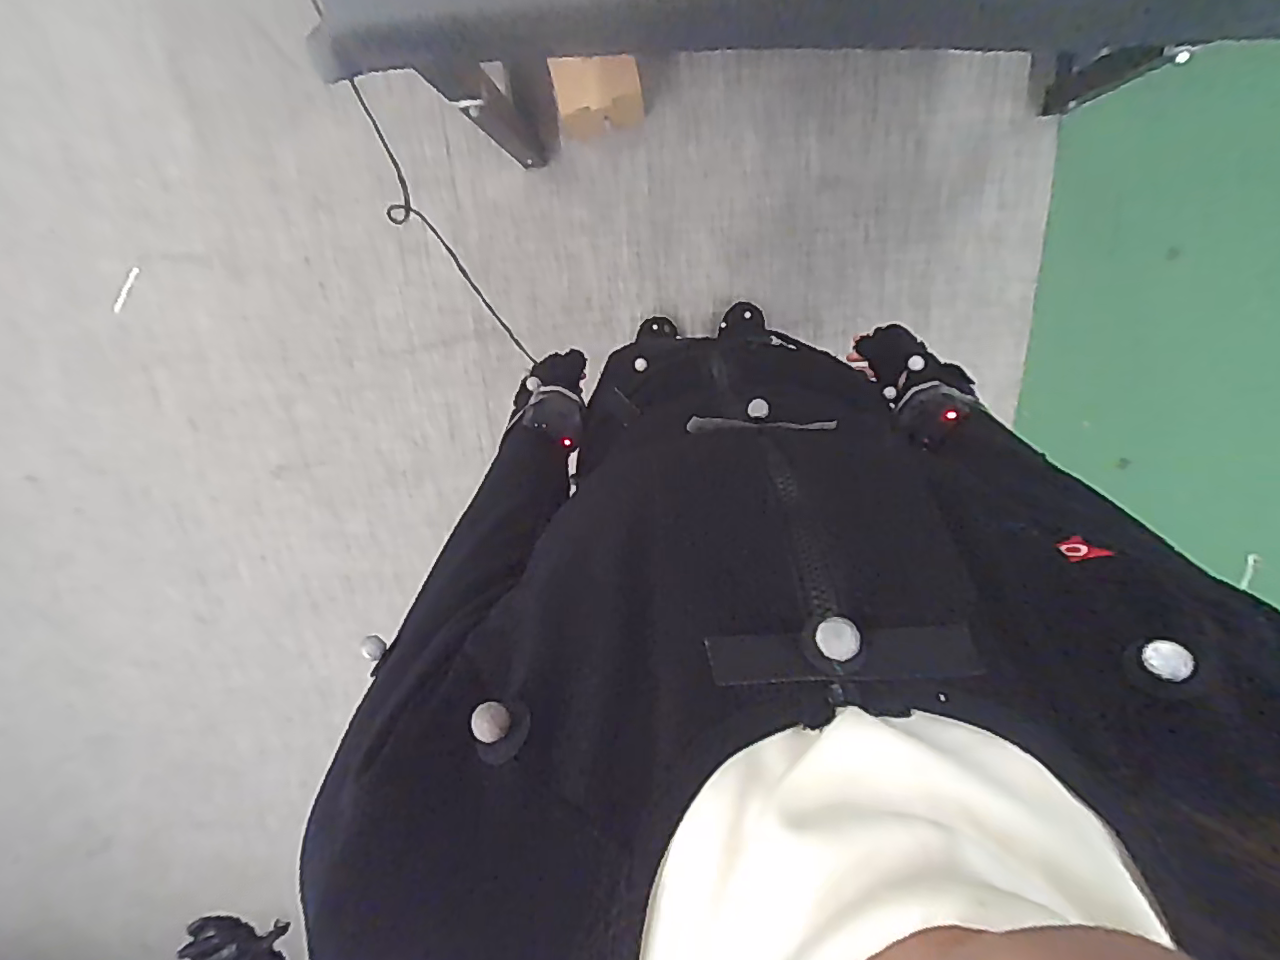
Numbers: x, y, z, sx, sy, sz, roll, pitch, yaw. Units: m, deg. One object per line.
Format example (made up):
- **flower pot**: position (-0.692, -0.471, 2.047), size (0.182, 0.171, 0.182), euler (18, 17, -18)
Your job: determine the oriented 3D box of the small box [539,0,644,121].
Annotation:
- **small box**: position (-0.088, -0.858, 1.098), size (0.168, 0.176, 0.179), euler (-12, 109, 7)
